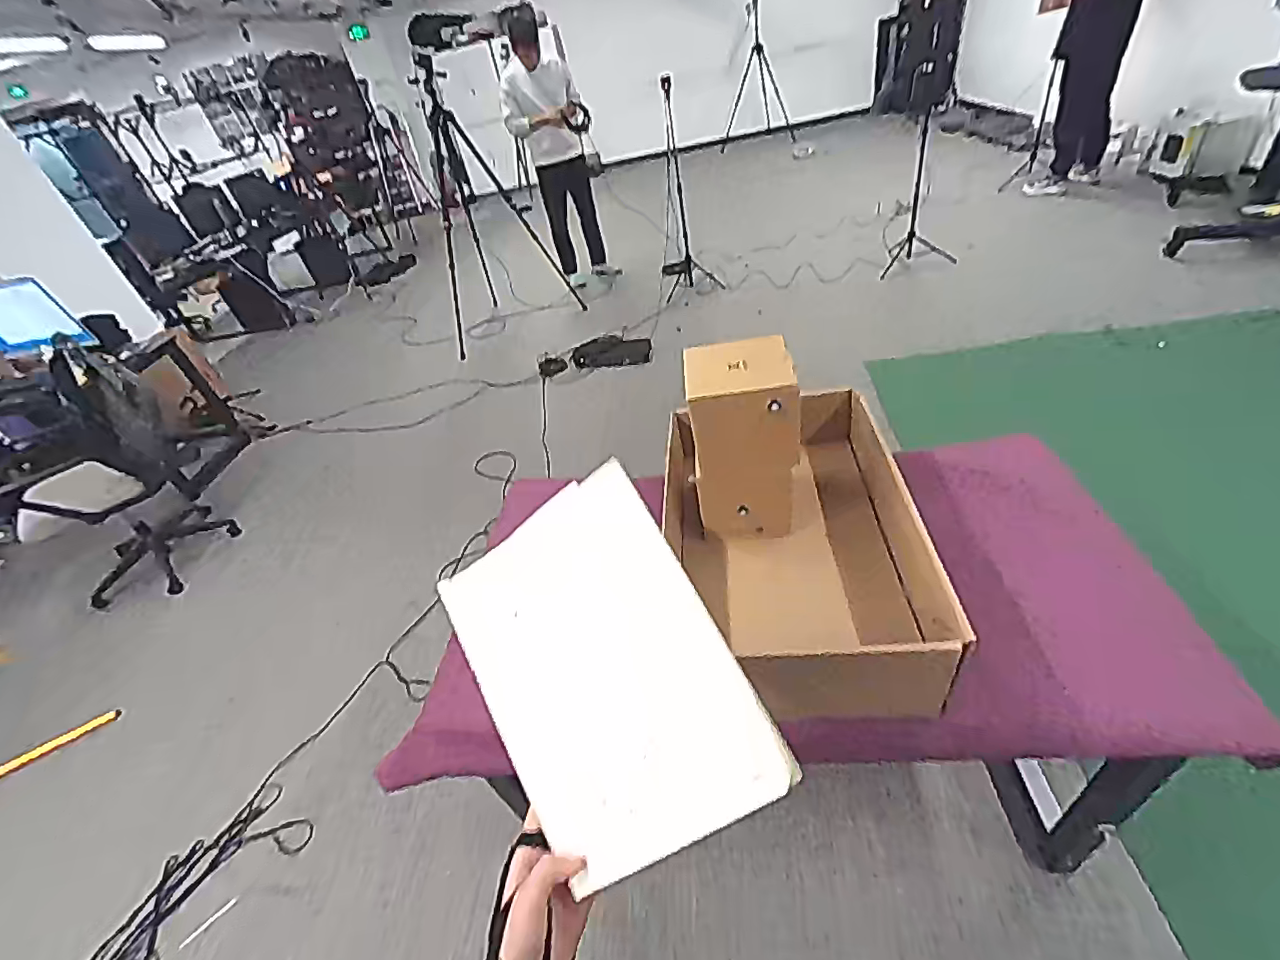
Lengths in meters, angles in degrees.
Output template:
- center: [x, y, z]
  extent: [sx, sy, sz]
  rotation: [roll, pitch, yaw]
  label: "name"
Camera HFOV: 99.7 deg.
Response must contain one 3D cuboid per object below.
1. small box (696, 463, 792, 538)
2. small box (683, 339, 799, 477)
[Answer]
- center: [0.200, -0.001, 1.043]
  extent: [0.168, 0.176, 0.179]
  rotation: [-5, 41, 11]
  label: "small box"
- center: [0.175, -0.121, 0.938]
  extent: [0.179, 0.176, 0.168]
  rotation: [-7, 40, 8]
  label: "small box"
